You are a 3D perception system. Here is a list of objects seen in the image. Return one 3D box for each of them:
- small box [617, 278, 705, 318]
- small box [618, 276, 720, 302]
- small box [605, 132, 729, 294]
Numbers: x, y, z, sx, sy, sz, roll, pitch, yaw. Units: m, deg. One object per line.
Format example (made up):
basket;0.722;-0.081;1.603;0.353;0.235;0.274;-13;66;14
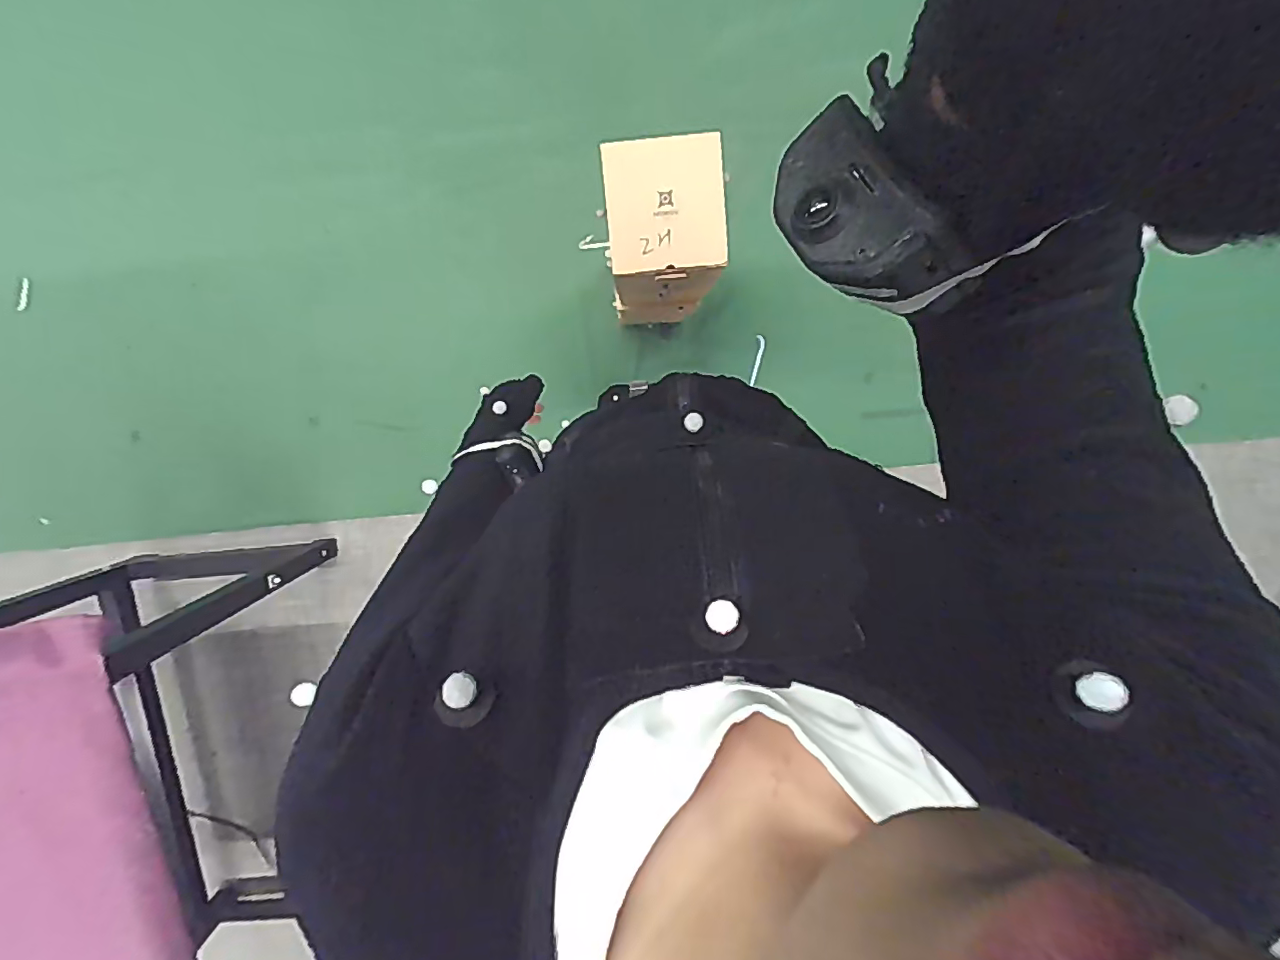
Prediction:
small box;0.040;-0.443;1.150;0.179;0.176;0.168;-5;100;1
small box;0.044;-0.425;0.983;0.179;0.176;0.168;-3;98;0
small box;0.038;-0.394;0.824;0.168;0.176;0.179;-5;100;2
